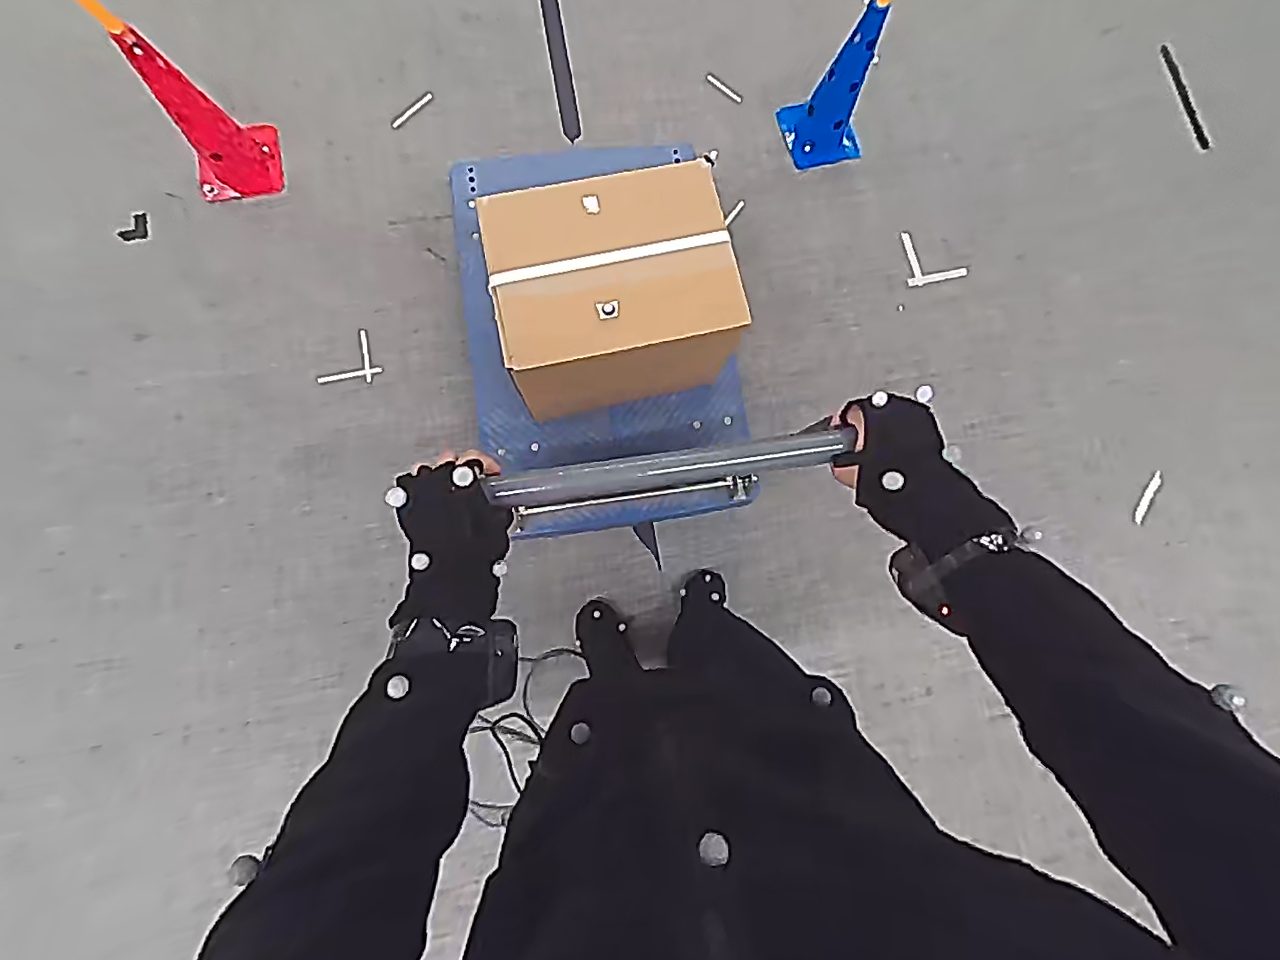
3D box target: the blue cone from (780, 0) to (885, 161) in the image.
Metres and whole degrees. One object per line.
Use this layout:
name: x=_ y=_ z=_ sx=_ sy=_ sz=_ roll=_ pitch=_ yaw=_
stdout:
blue cone: x=0.511 y=-1.013 z=1.351 sx=0.193 sy=0.380 sz=0.192 roll=-14 pitch=81 yaw=-6
